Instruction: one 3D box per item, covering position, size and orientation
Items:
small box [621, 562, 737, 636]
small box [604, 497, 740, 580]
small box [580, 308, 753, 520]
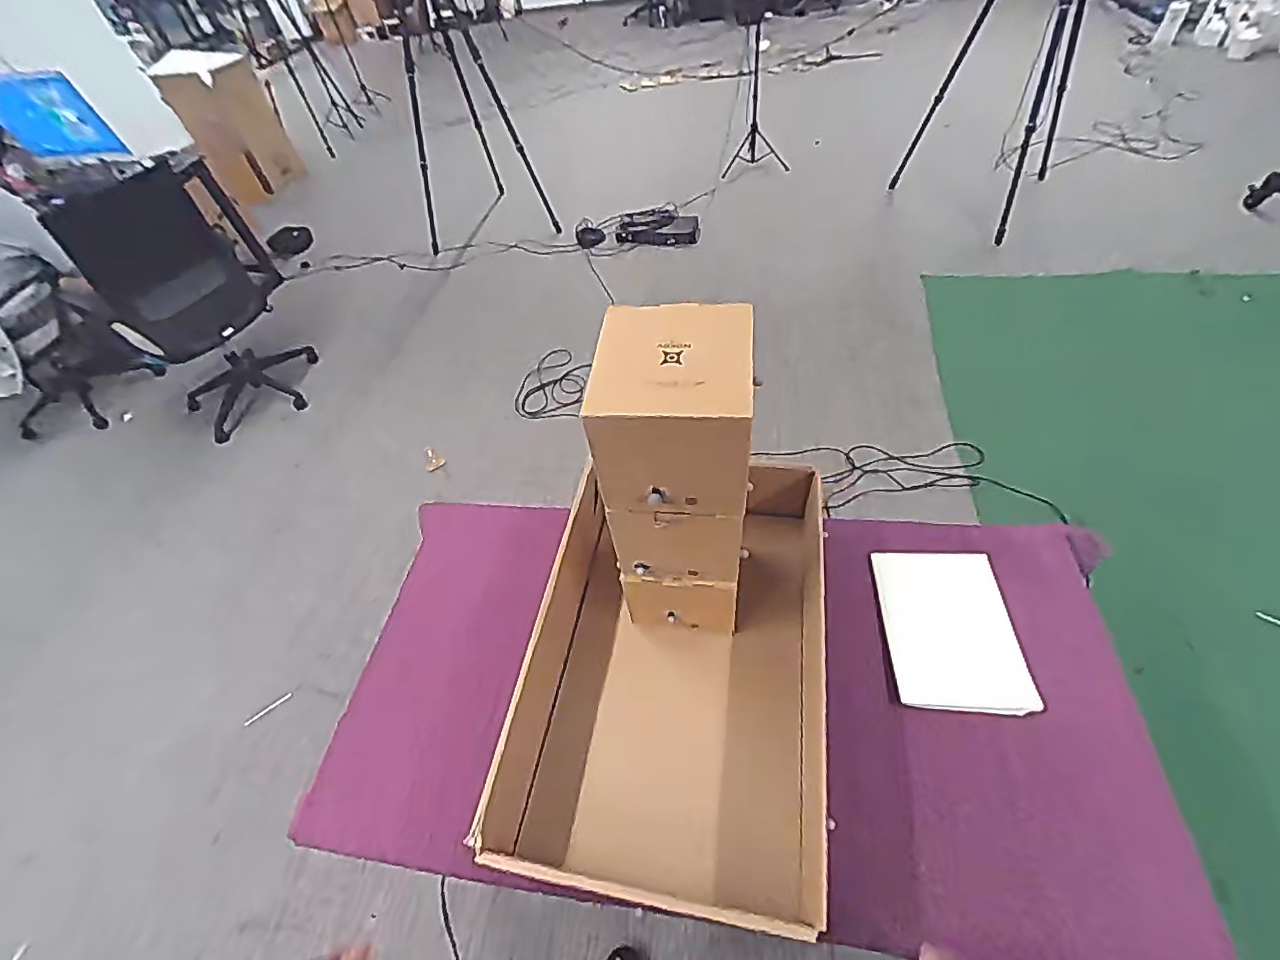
[{"bbox_3d":[0.072,0.131,0.873,0.168,0.176,0.179,3,53,10],"label":"small box"},{"bbox_3d":[0.055,0.024,0.750,0.168,0.176,0.179,2,52,9],"label":"small box"},{"bbox_3d":[0.040,-0.076,0.621,0.168,0.176,0.179,2,53,10],"label":"small box"}]
